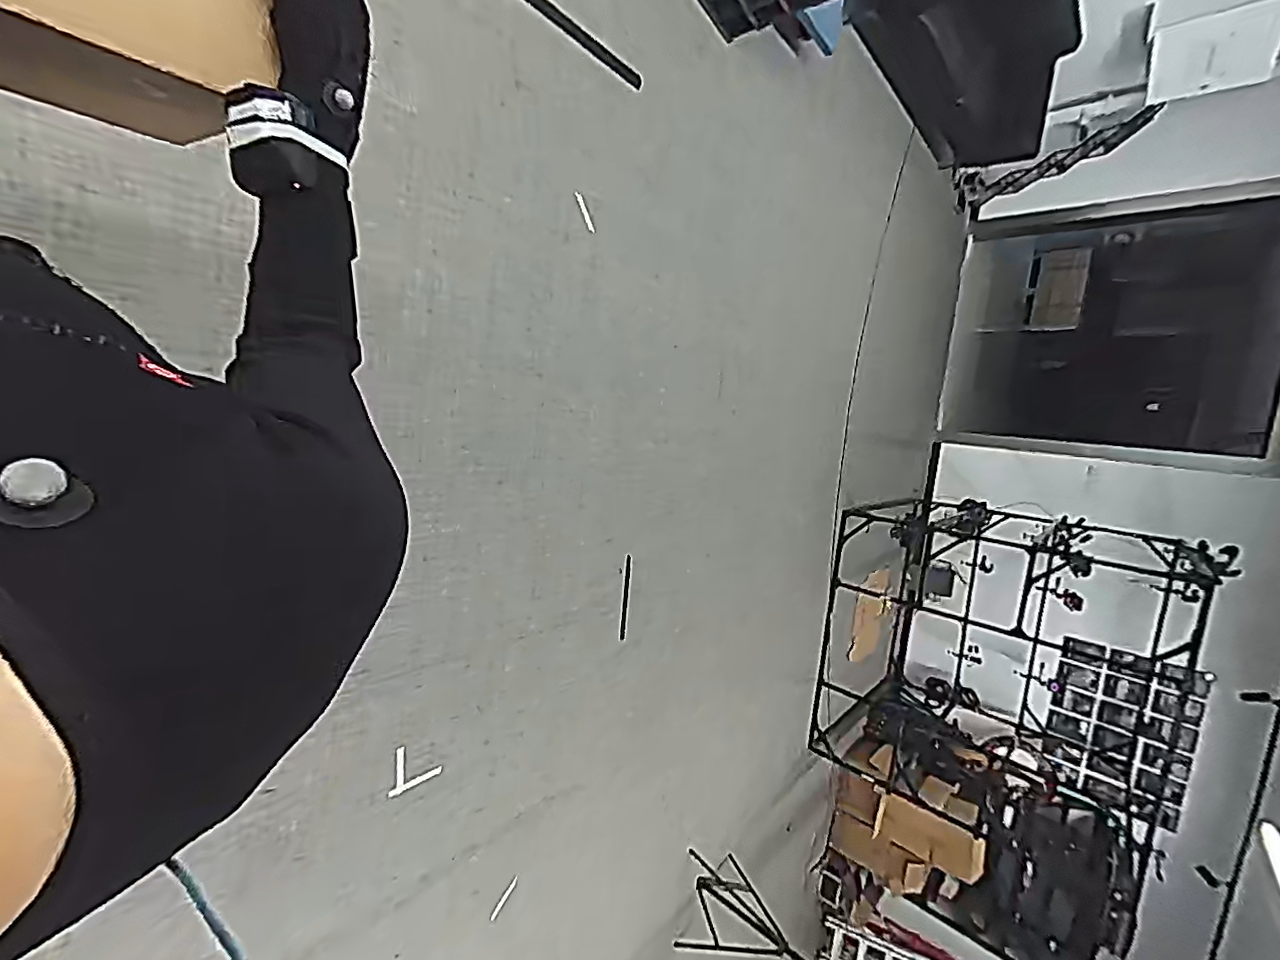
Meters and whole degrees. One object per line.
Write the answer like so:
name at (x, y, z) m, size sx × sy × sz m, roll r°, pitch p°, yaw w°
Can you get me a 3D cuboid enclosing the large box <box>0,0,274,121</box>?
large box at (-0.506, -0.478, 0.327) m, size 0.408 × 0.320 × 0.320 m, roll -8°, pitch 114°, yaw -51°
